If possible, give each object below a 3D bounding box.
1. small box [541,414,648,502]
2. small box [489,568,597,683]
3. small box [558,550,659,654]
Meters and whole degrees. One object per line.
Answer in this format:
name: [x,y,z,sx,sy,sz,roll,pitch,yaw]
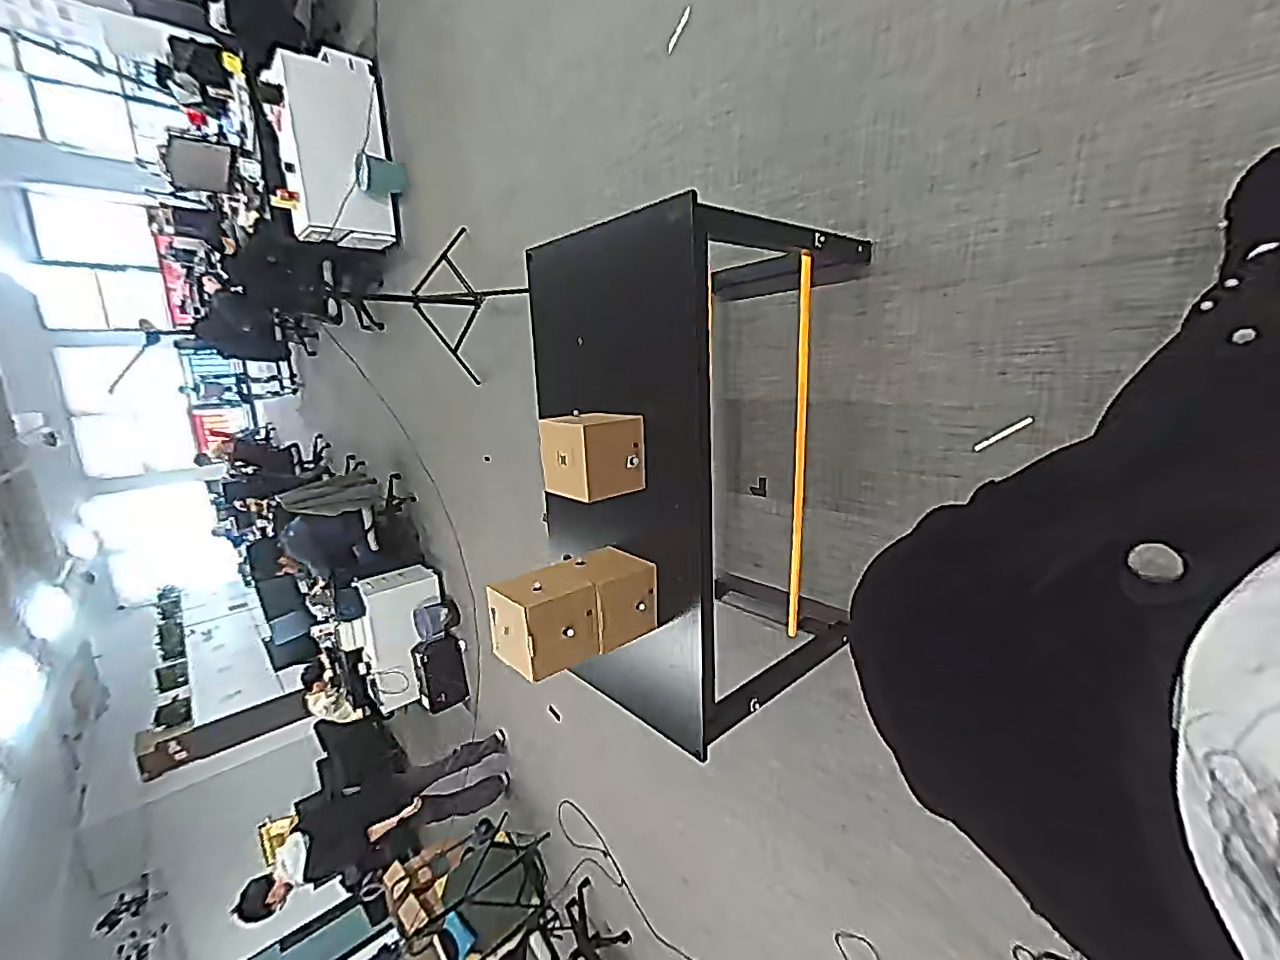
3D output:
small box: [-0.101,-0.057,1.217,0.179,0.176,0.168,10,109,47]
small box: [-0.204,0.304,1.173,0.179,0.176,0.168,10,107,48]
small box: [-0.074,0.275,1.270,0.179,0.176,0.168,14,110,47]
